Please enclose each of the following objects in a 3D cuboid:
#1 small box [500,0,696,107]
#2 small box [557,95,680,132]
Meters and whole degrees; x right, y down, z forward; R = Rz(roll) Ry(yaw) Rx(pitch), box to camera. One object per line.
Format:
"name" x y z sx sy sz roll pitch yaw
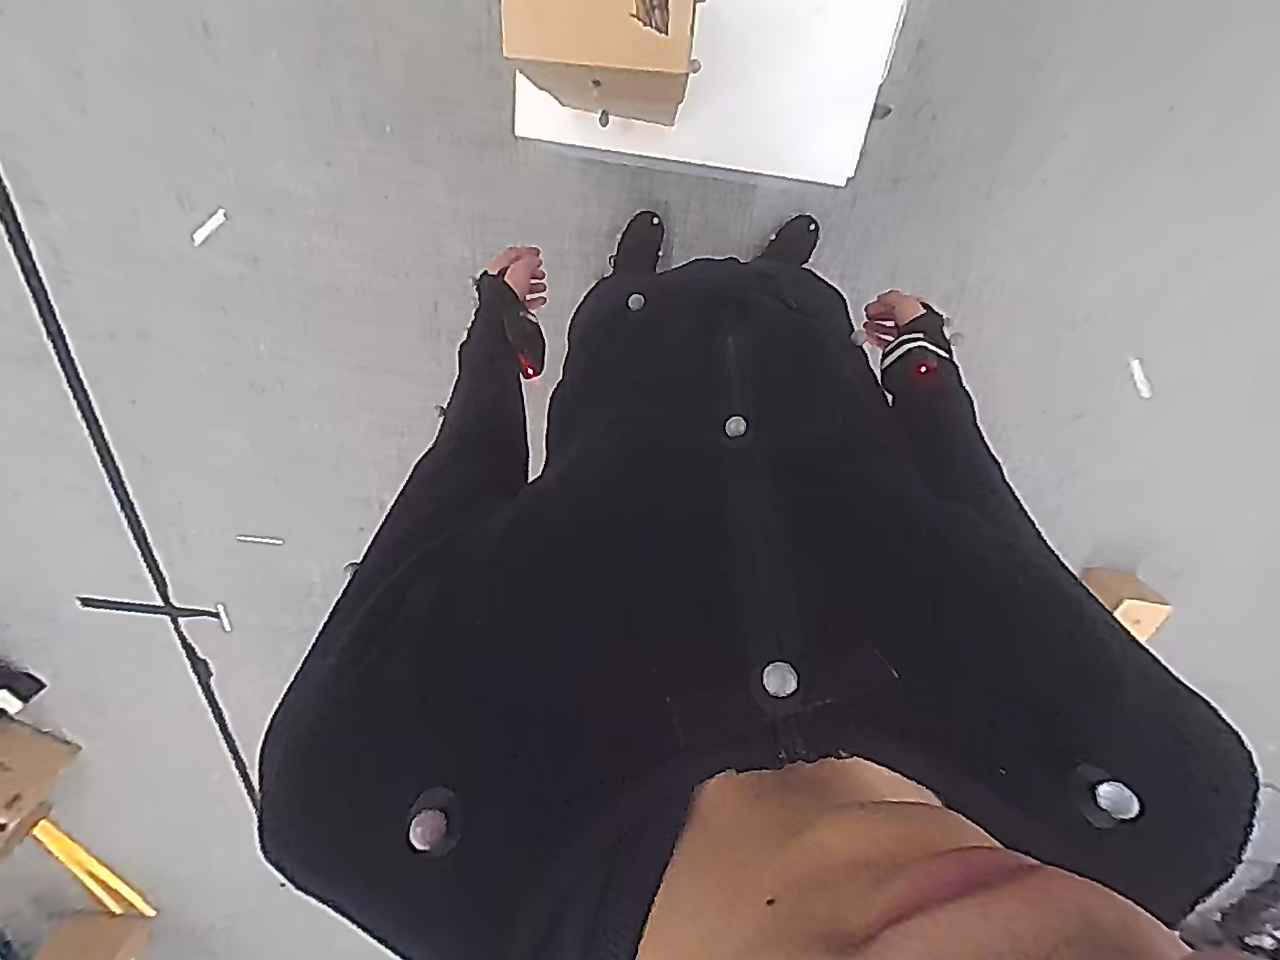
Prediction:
"small box" -0.033 -0.485 0.536 0.179 0.176 0.168 5 117 0
"small box" -0.023 -0.561 0.681 0.168 0.176 0.179 8 117 -3
